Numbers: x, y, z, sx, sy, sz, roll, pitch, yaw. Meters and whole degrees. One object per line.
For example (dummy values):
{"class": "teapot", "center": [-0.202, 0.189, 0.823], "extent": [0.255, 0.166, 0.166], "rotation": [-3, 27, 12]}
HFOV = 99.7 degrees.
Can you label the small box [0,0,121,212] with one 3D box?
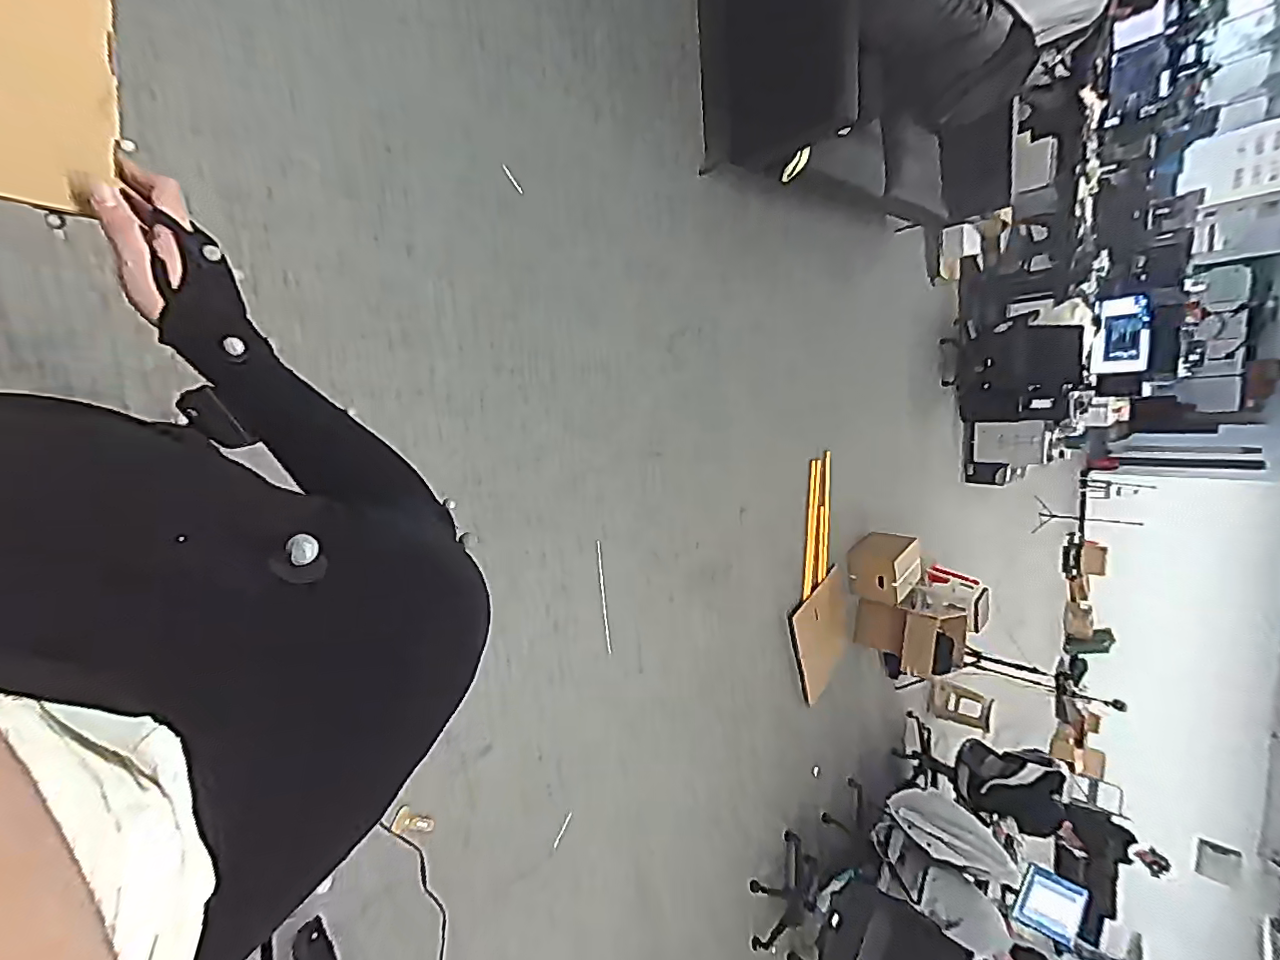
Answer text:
{"class": "small box", "center": [-0.517, -0.312, 0.409], "extent": [0.179, 0.176, 0.168], "rotation": [-3, 111, -45]}
